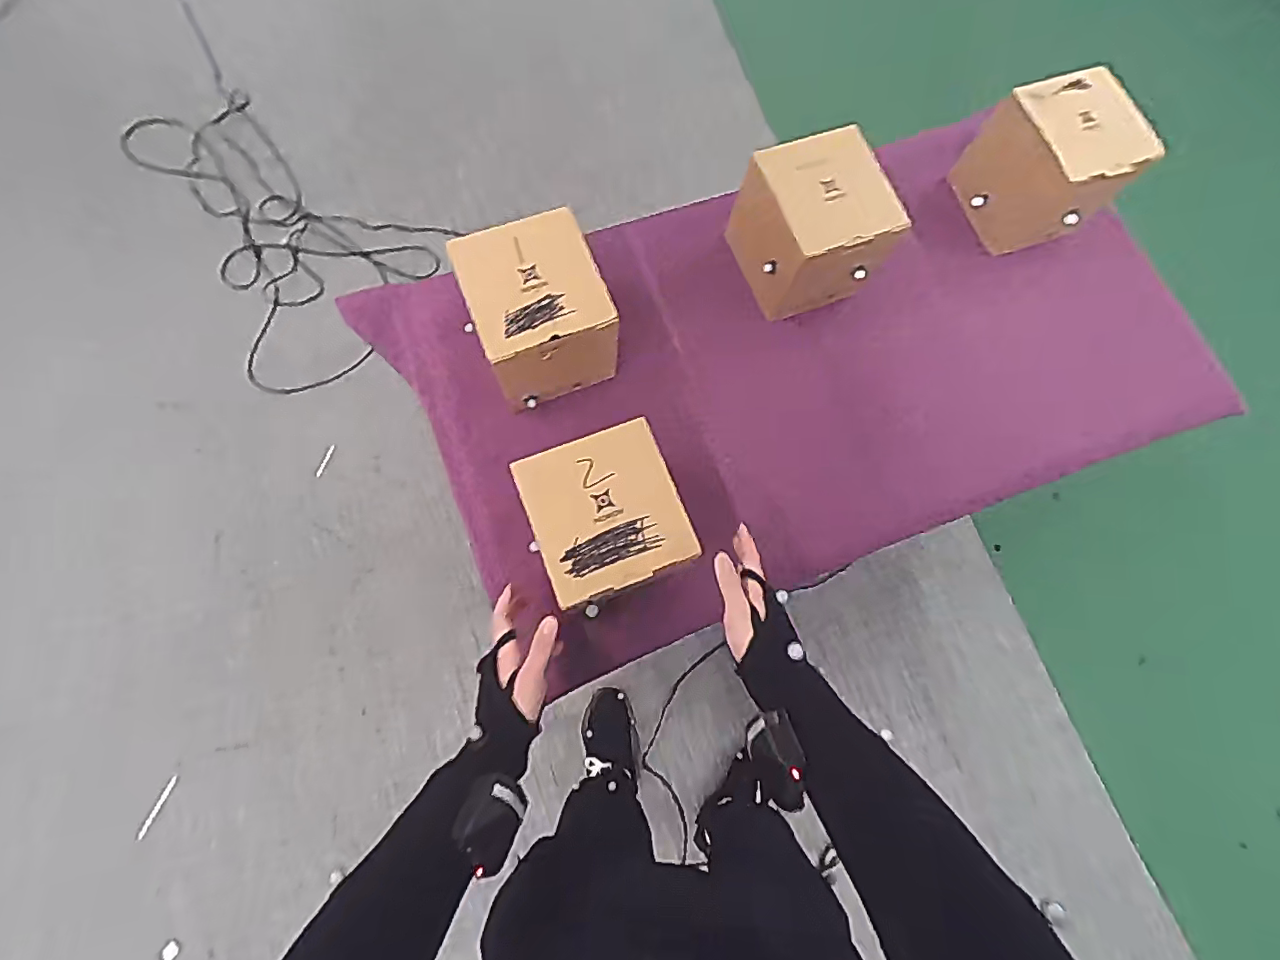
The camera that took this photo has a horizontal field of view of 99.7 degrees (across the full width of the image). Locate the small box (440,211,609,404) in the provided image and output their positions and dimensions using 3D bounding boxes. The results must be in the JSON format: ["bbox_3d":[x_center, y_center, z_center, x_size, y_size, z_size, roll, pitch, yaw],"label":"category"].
[{"bbox_3d":[-0.147,-0.222,0.744,0.168,0.176,0.179,-22,78,-9],"label":"small box"}]

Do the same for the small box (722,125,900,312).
[{"bbox_3d":[0.241,-0.376,0.810,0.168,0.176,0.179,-21,78,-9],"label":"small box"}]

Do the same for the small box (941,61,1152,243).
[{"bbox_3d":[0.632,-0.509,0.865,0.168,0.176,0.179,-20,79,-8],"label":"small box"}]
